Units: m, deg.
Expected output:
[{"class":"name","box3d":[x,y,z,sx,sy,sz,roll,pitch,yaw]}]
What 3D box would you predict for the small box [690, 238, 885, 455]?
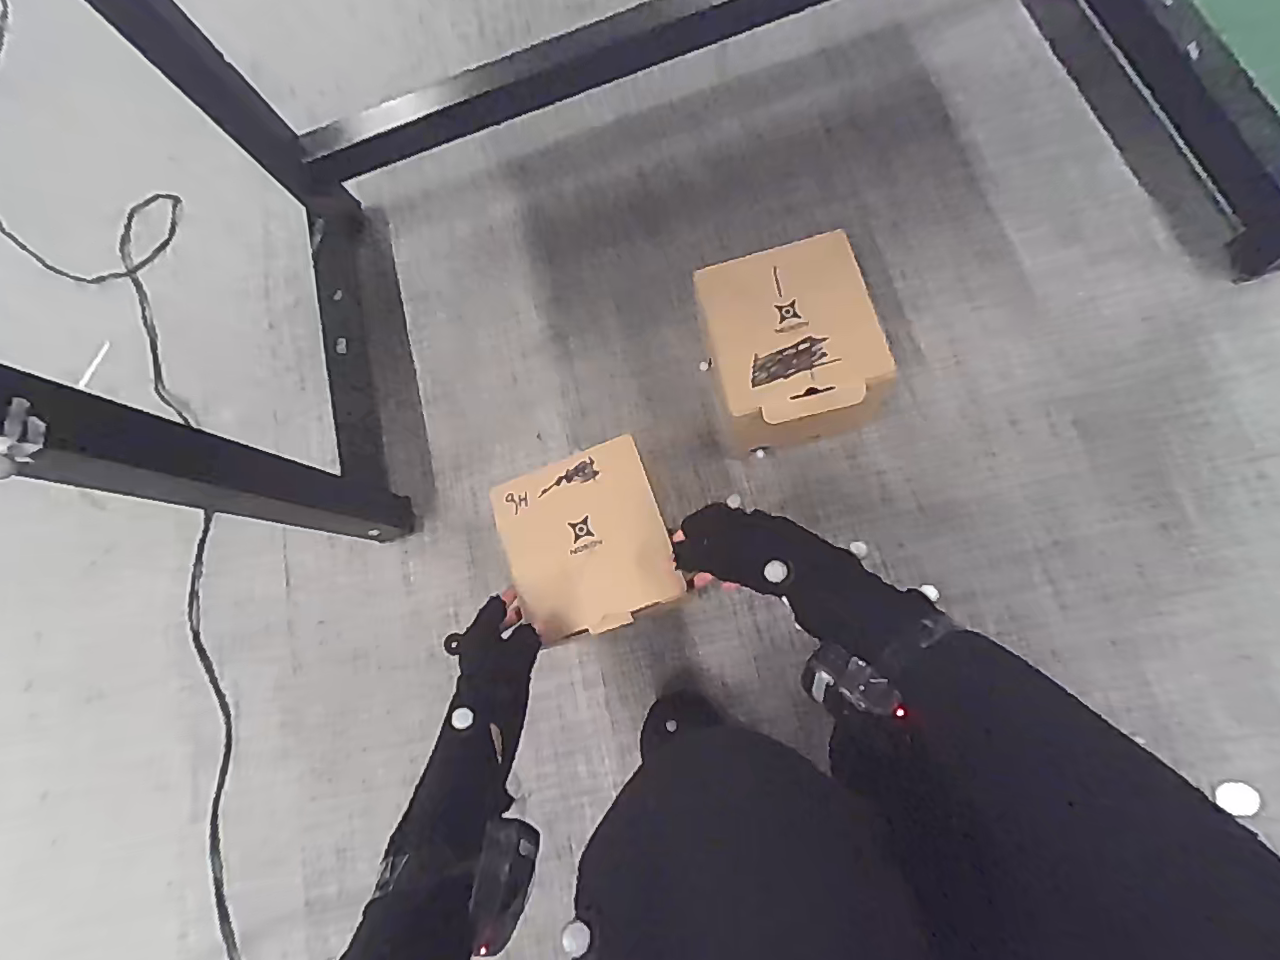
[{"class":"small box","box3d":[0.163,-0.139,0.636,0.168,0.176,0.179,-13,73,7]}]
